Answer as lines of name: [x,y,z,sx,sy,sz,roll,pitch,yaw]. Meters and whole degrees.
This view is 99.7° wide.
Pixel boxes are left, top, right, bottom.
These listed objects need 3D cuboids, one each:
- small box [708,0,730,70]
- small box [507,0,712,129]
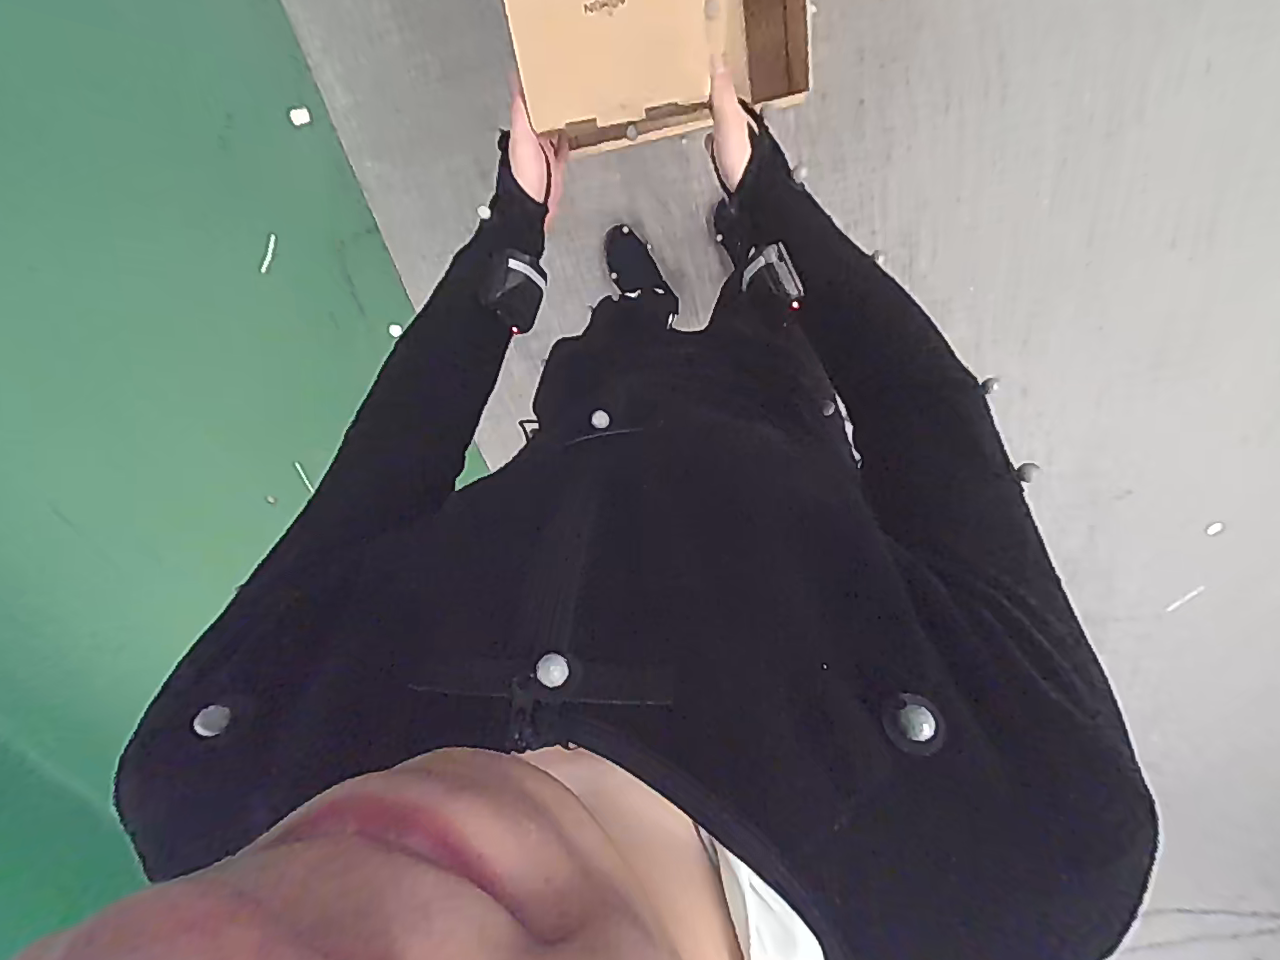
small box: [0.019,-0.598,0.652,0.168,0.176,0.179,-6,120,7]
small box: [-0.021,-0.445,0.500,0.168,0.176,0.179,-5,123,10]
